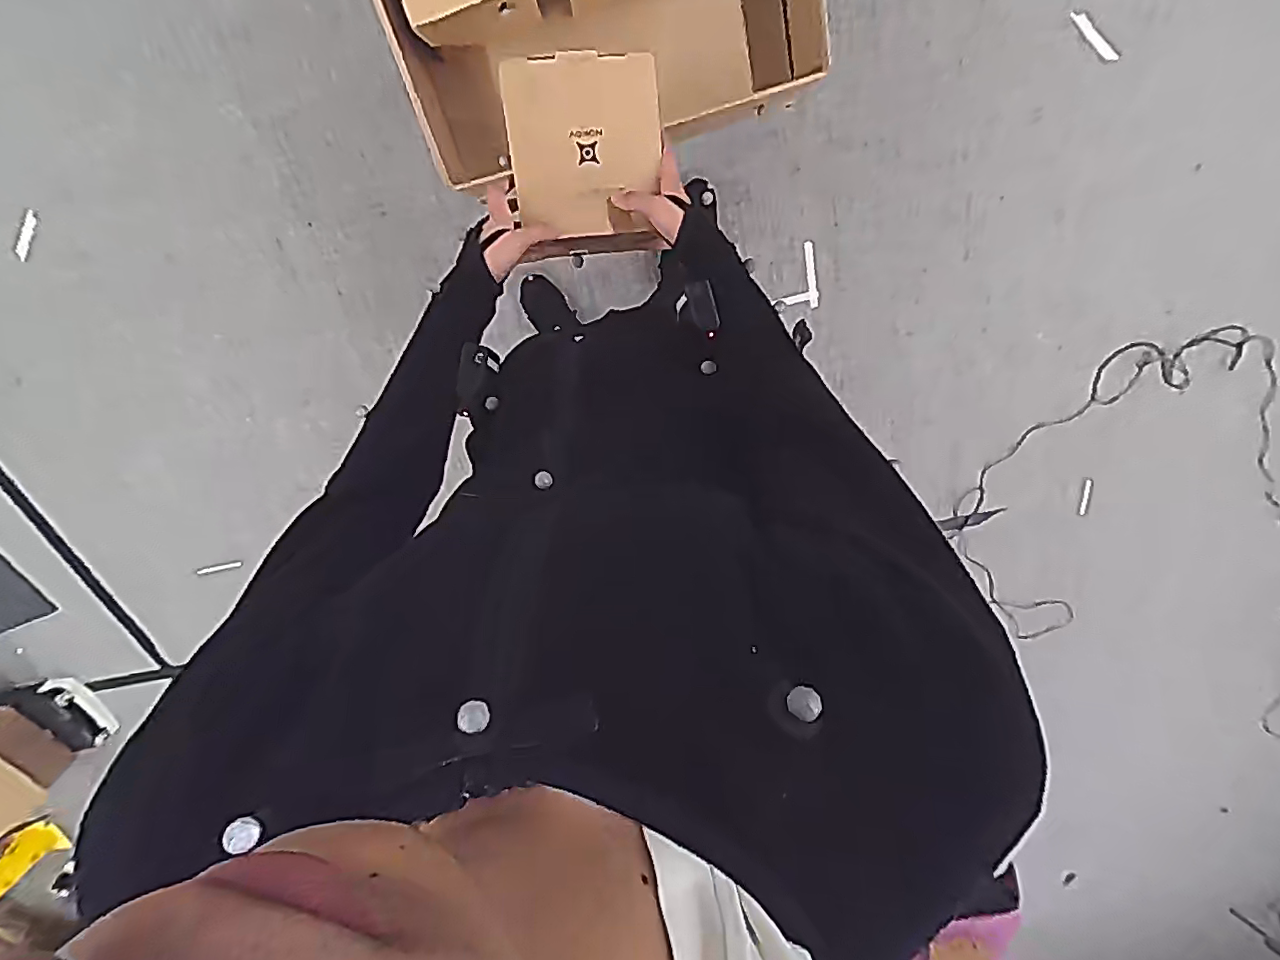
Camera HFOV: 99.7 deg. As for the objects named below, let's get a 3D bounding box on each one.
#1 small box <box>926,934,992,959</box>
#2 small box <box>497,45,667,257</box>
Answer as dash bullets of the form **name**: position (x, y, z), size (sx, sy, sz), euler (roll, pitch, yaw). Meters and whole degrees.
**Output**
- **small box**: position (1.016, 1.553, 1.689), size (0.168, 0.176, 0.179), euler (-13, 120, 4)
- **small box**: position (-0.071, -0.380, 0.652), size (0.168, 0.176, 0.179), euler (-9, 106, -7)
